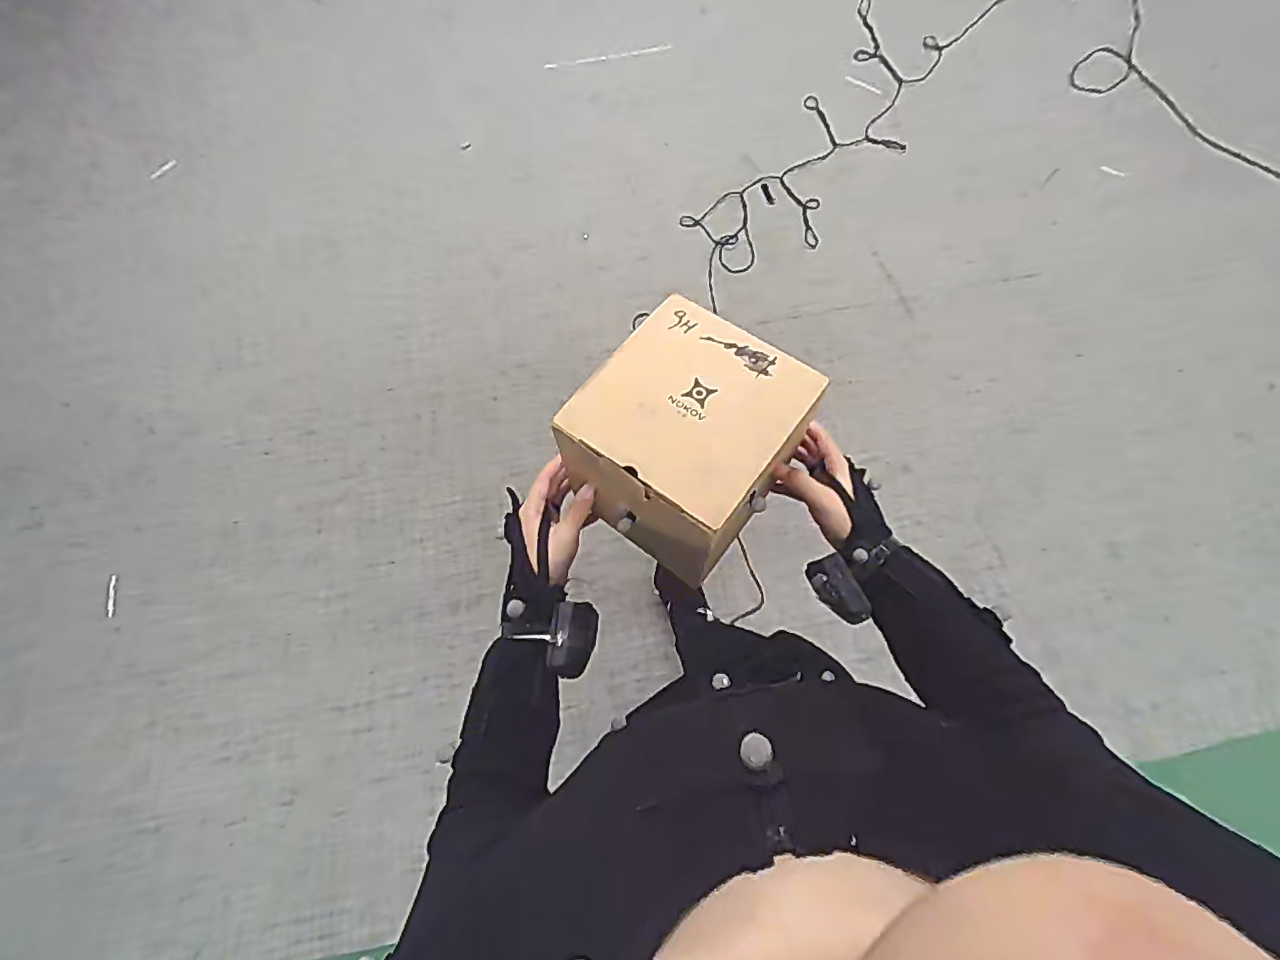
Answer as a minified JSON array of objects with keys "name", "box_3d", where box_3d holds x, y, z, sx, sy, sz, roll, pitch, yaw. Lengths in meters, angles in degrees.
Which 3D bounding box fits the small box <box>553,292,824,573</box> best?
[{"name":"small box","box_3d":[0.045,-0.036,0.524,0.168,0.176,0.179,34,71,16]}]
